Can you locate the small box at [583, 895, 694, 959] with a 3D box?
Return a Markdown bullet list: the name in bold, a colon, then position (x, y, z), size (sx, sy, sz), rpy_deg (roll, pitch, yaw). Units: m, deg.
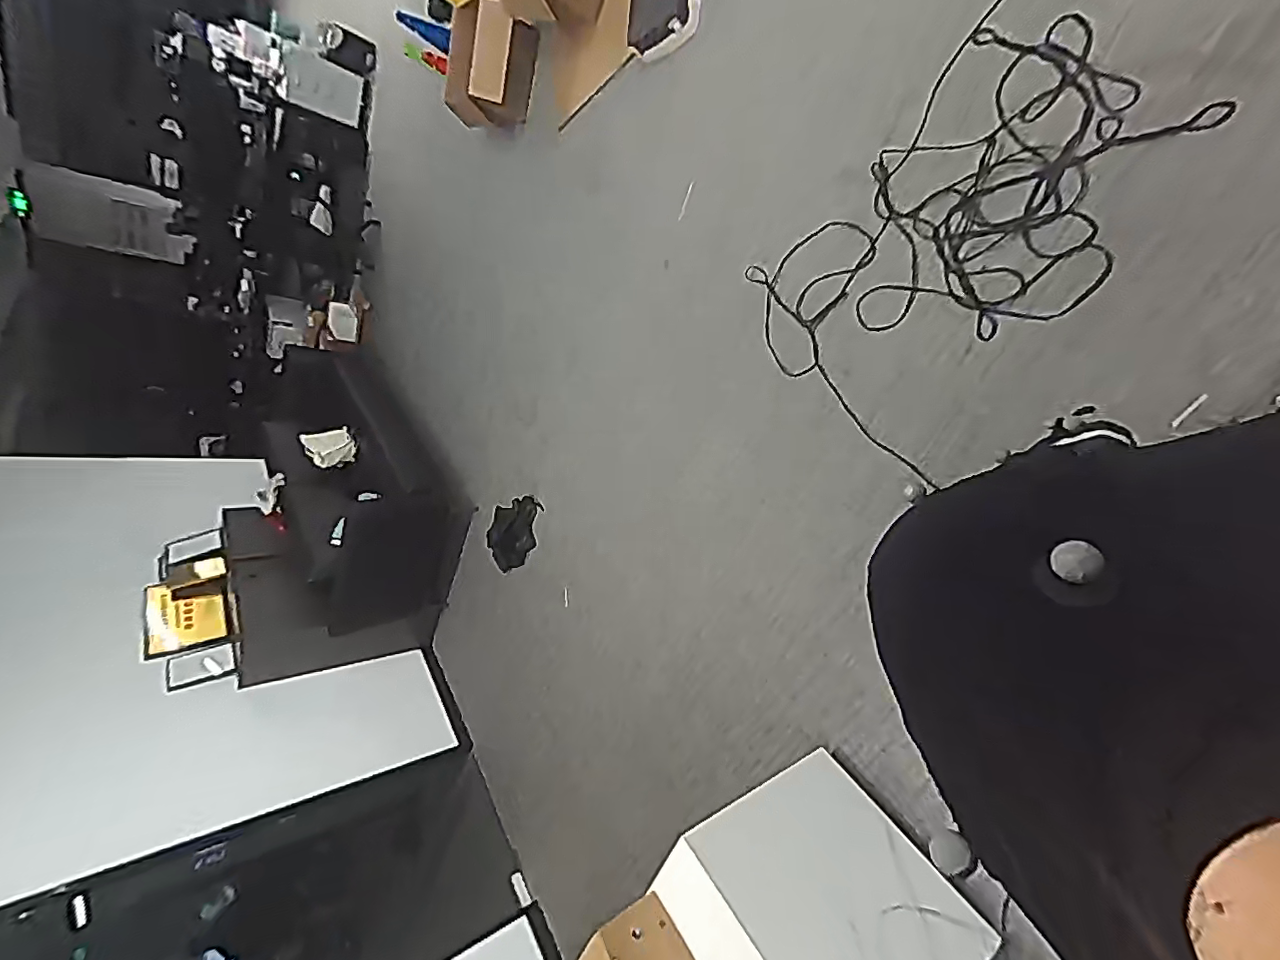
- **small box**: position (-0.001, 1.021, 1.125), size (0.168, 0.176, 0.179), rpy_deg (43, 122, 40)
